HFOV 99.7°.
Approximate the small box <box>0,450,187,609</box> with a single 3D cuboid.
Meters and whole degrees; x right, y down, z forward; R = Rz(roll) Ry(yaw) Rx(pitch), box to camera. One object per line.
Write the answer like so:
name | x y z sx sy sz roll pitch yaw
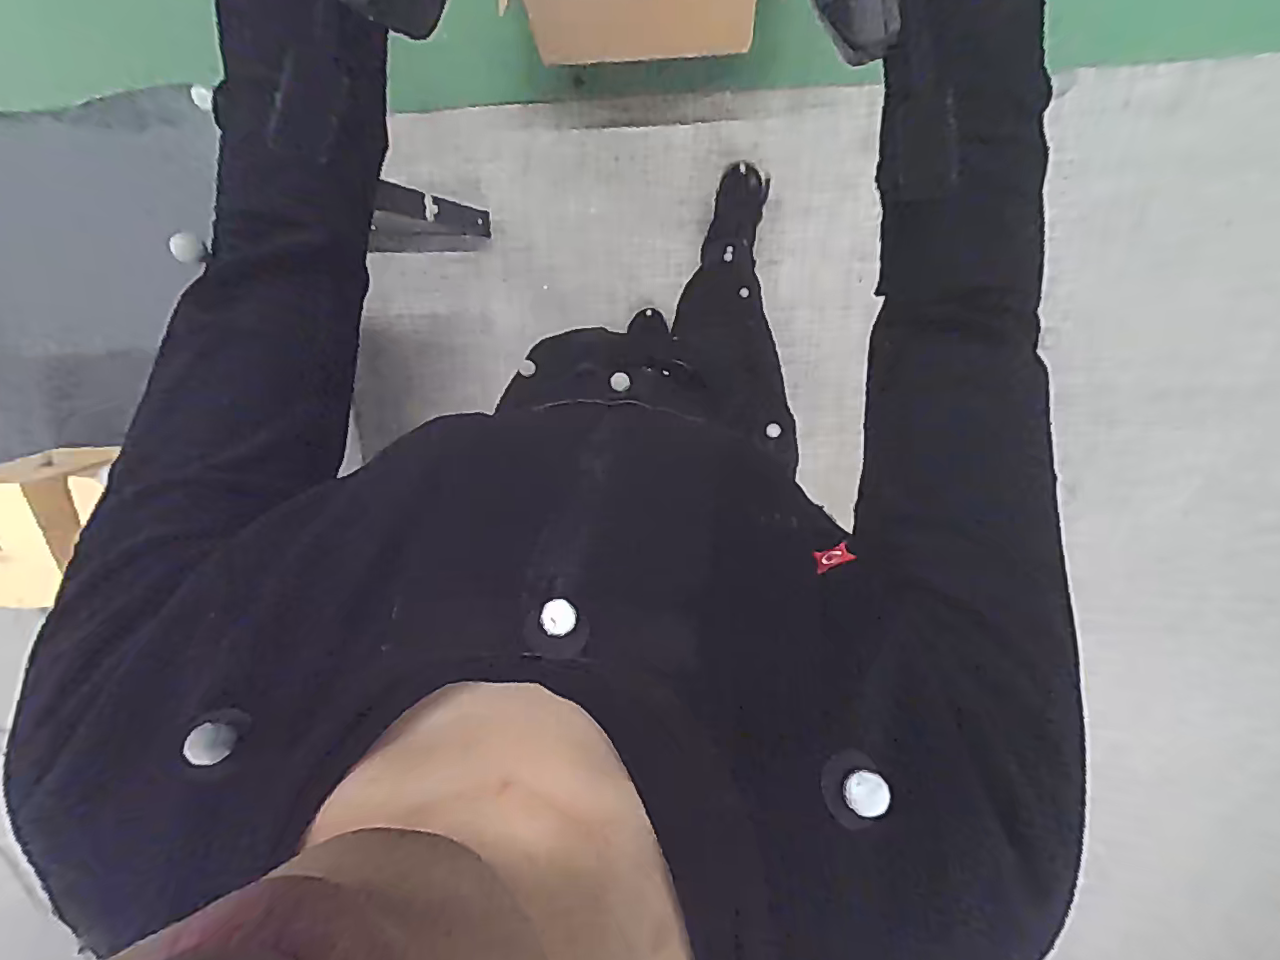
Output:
small box | -0.799 0.060 0.755 0.168 0.176 0.179 -1 111 7
